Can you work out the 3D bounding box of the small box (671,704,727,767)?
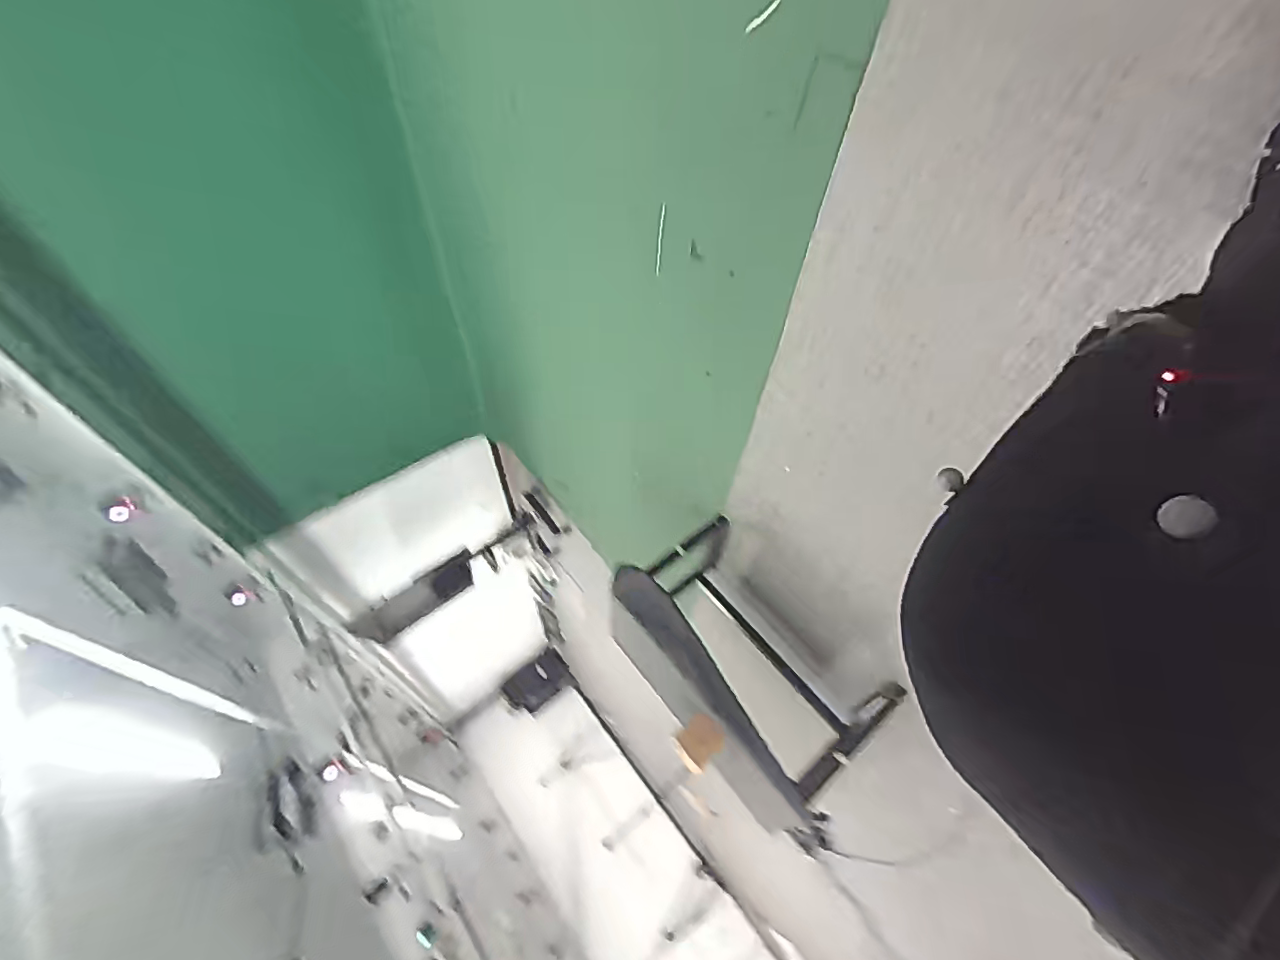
[{"bbox_3d":[0.255,1.115,2.374,0.179,0.176,0.168,44,154,31],"label":"small box"}]
